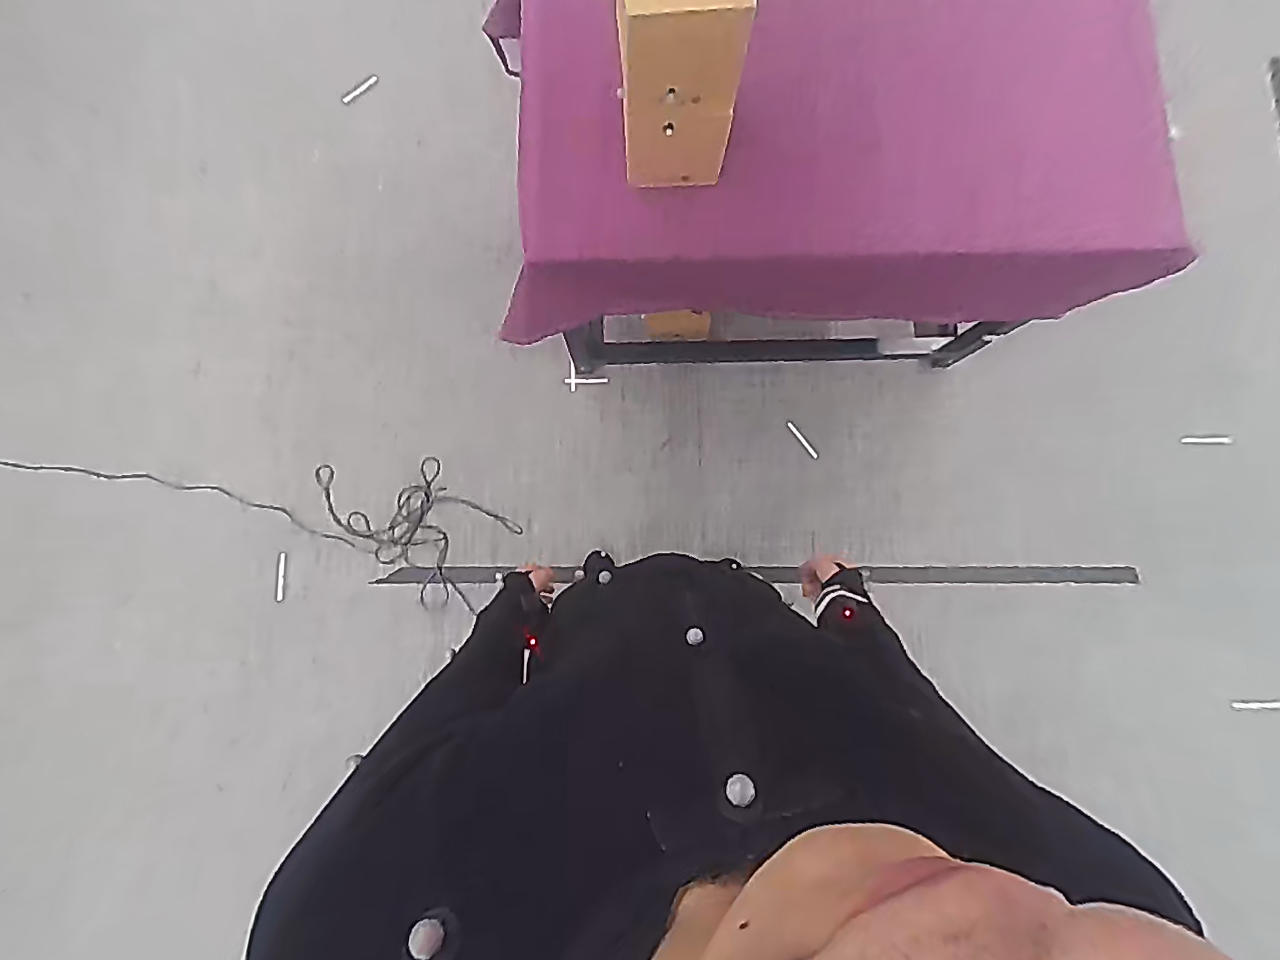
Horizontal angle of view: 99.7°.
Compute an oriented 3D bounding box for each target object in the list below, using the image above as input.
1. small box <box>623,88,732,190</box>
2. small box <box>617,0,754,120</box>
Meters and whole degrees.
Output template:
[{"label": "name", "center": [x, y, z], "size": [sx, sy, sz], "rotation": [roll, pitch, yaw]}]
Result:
[{"label": "small box", "center": [0.056, -0.630, 0.924], "size": [0.168, 0.176, 0.179], "rotation": [-3, 83, -1]}, {"label": "small box", "center": [0.054, -0.652, 0.762], "size": [0.168, 0.176, 0.179], "rotation": [-5, 83, -1]}]
